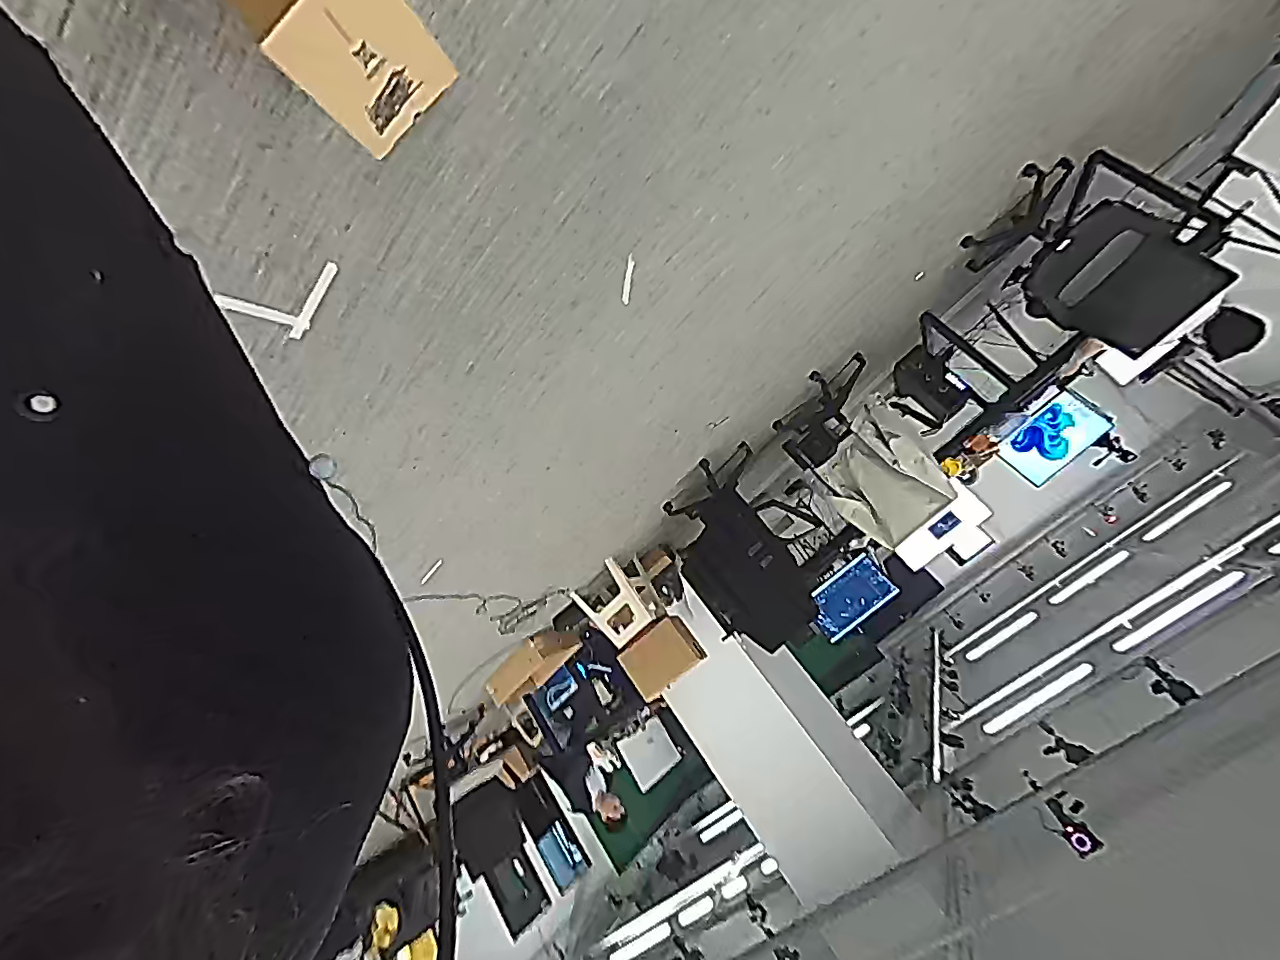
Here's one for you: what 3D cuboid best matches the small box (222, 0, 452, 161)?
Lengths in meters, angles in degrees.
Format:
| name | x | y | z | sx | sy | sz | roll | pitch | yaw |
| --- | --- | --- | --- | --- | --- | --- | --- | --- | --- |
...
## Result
| name | x | y | z | sx | sy | sz | roll | pitch | yaw |
| --- | --- | --- | --- | --- | --- | --- | --- | --- | --- |
| small box | -0.387 | -0.572 | 0.697 | 0.168 | 0.176 | 0.179 | -41 | 158 | 7 |
